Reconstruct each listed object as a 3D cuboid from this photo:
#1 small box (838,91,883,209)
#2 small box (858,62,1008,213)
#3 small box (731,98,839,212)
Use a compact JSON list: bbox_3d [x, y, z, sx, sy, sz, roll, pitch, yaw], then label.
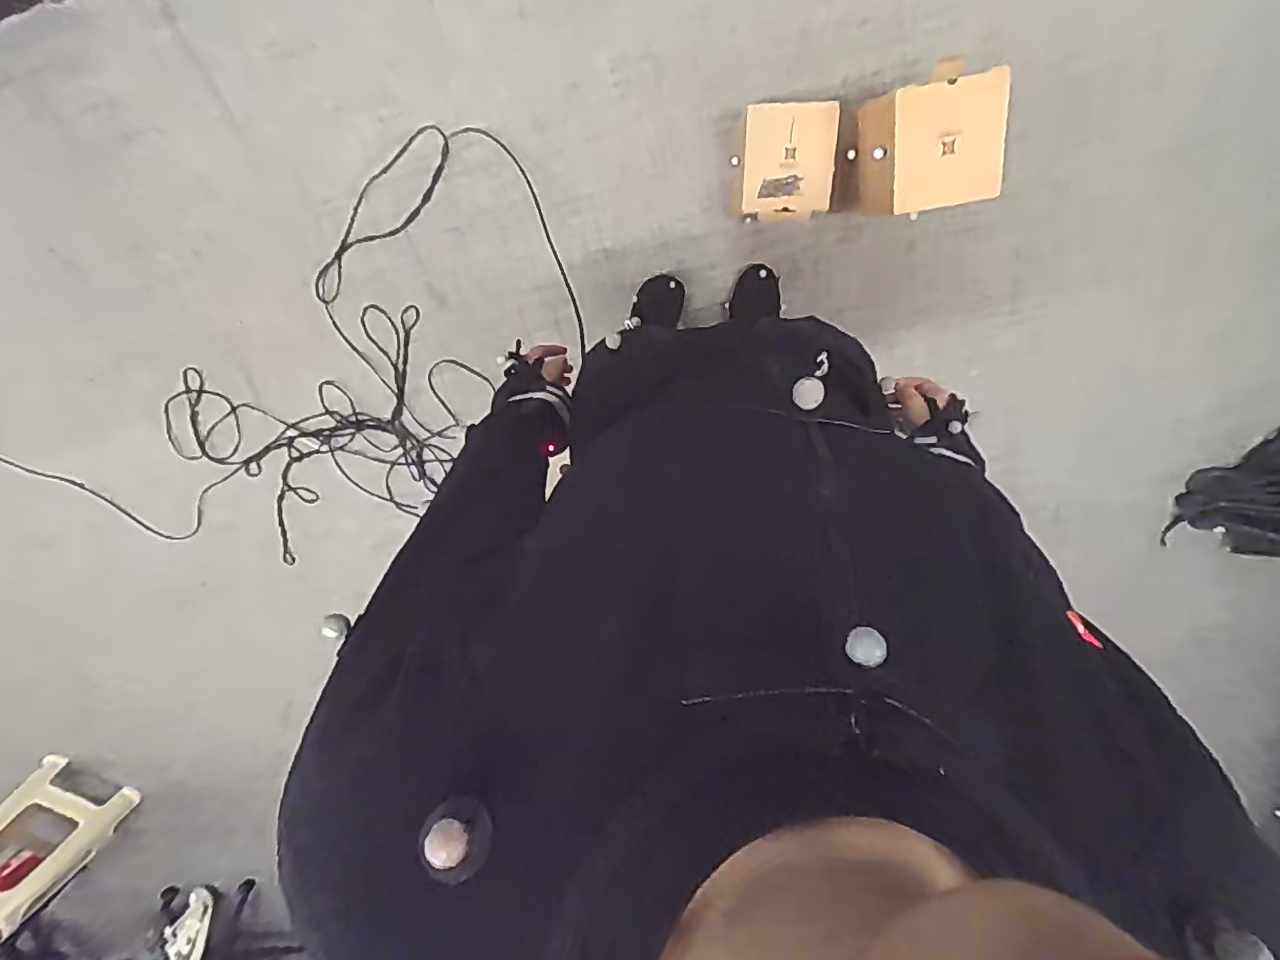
[{"bbox_3d":[0.490,-0.636,1.042,0.168,0.176,0.179,-8,113,6],"label":"small box"},{"bbox_3d":[0.473,-0.554,0.900,0.168,0.176,0.179,-8,113,7],"label":"small box"},{"bbox_3d":[0.272,-0.624,1.057,0.168,0.176,0.179,0,113,2],"label":"small box"}]
